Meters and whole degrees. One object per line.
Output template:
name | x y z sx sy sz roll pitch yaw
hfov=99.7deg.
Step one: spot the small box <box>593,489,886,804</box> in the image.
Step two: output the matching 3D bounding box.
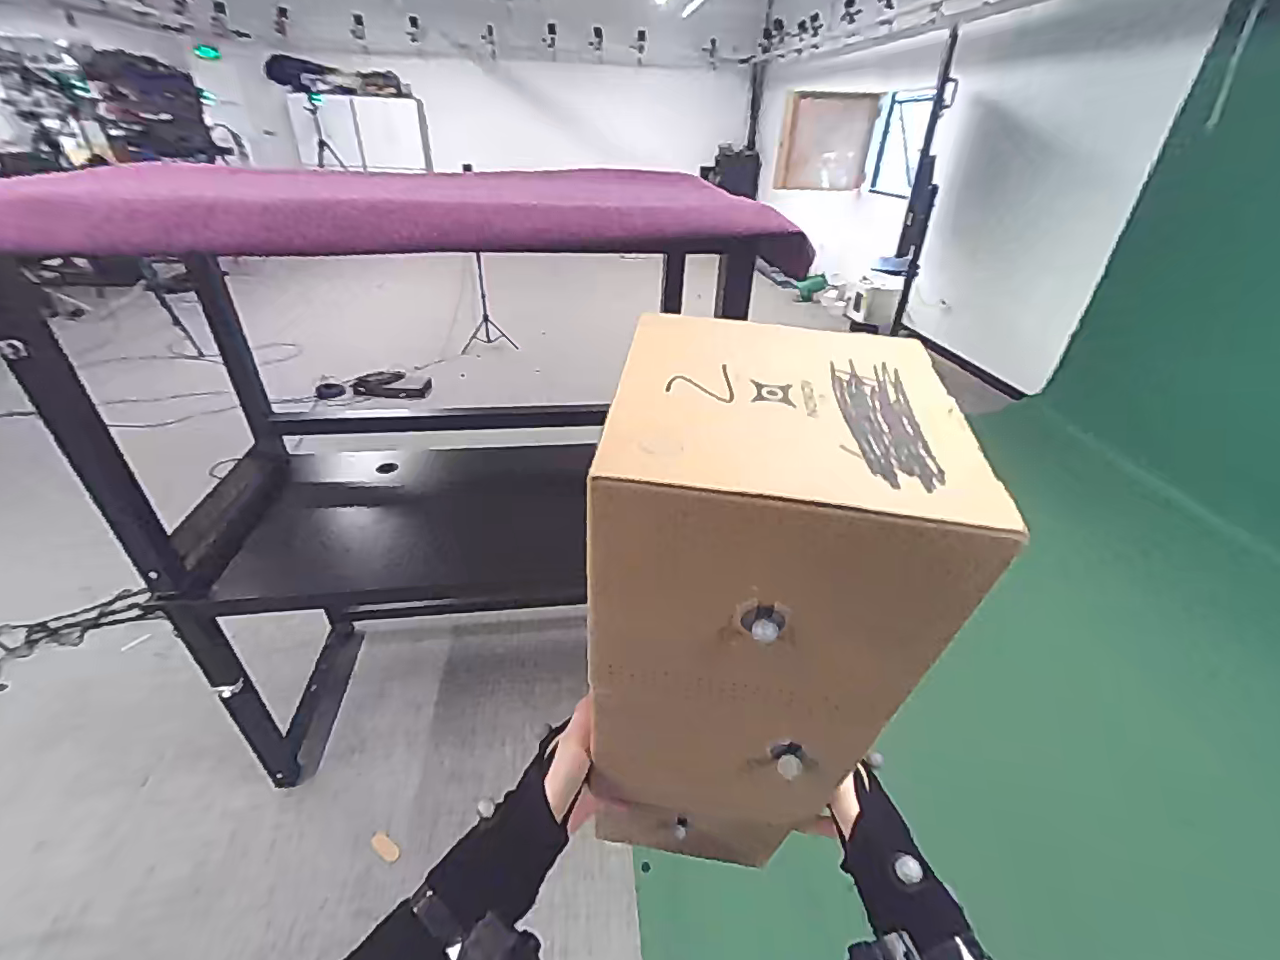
small box | 0.064 0.133 0.431 0.179 0.176 0.168 8 40 3
